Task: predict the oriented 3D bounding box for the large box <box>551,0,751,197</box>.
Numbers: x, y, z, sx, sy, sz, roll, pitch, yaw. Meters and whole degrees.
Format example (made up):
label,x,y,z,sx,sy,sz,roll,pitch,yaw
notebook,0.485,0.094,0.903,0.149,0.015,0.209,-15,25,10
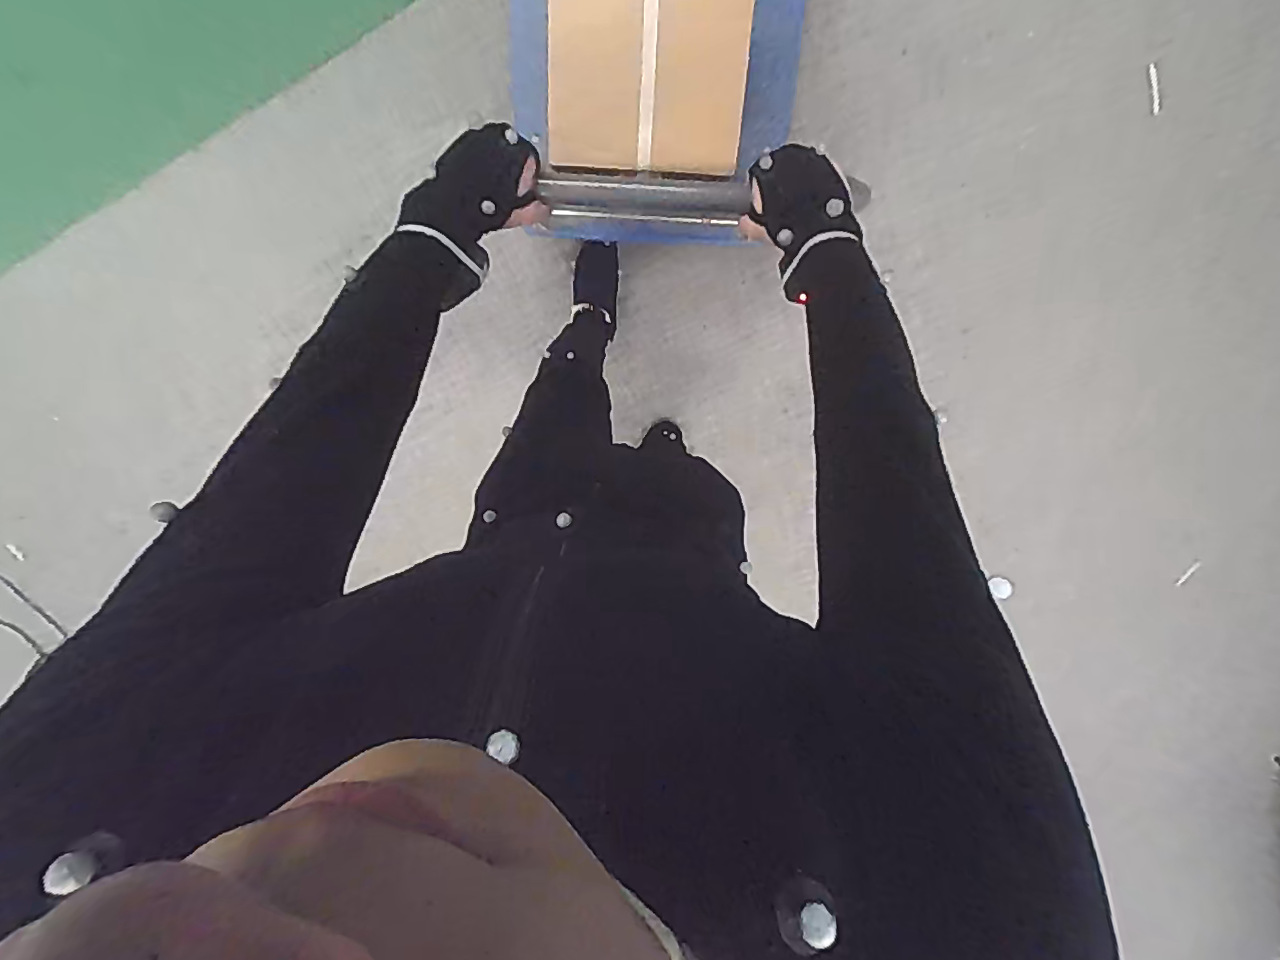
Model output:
label,x,y,z,sx,sy,sz,roll,pitch,yaw
large box,0.020,-0.760,0.983,0.320,0.320,0.408,4,111,0
